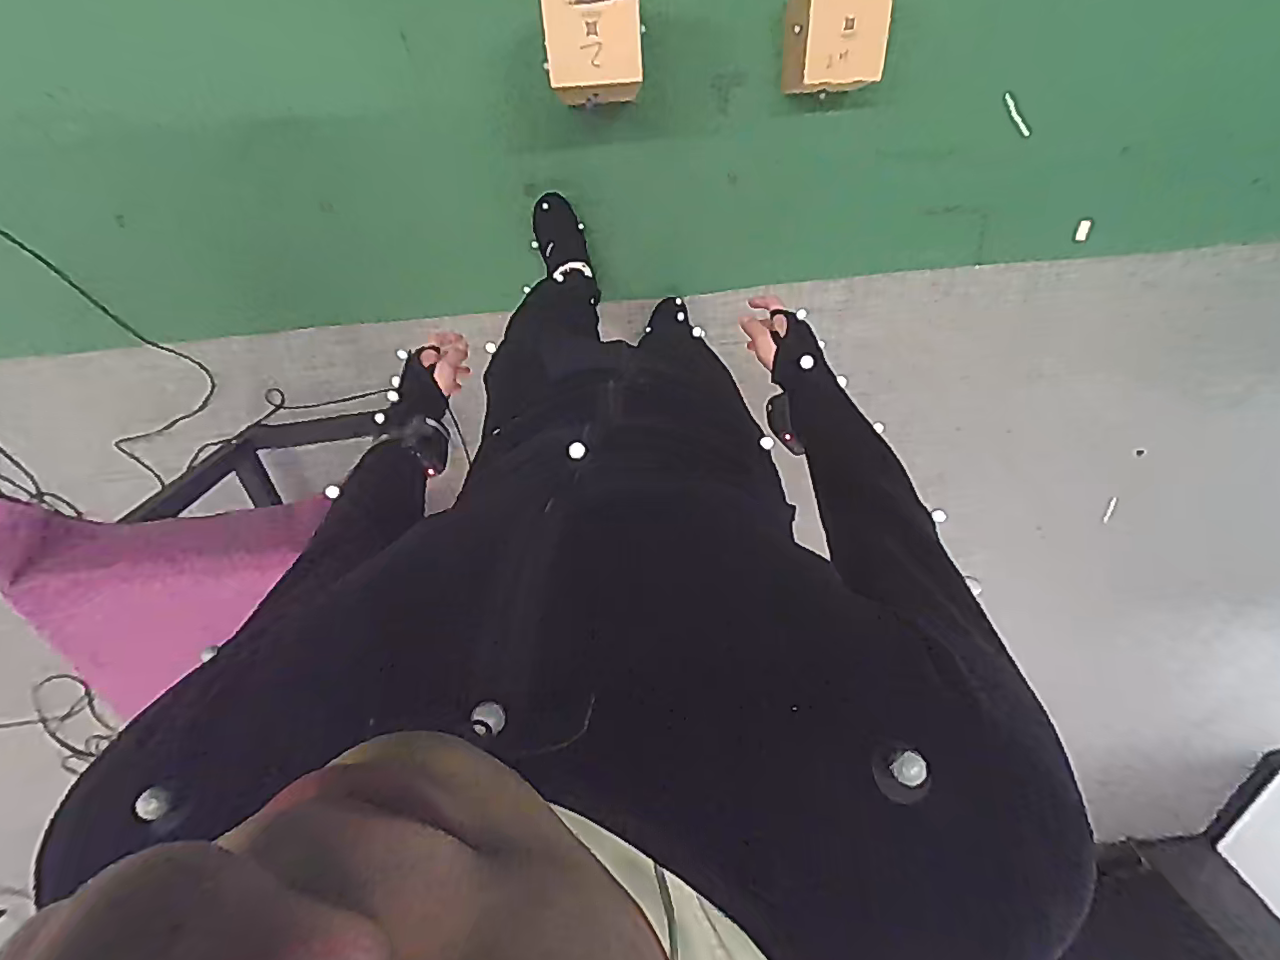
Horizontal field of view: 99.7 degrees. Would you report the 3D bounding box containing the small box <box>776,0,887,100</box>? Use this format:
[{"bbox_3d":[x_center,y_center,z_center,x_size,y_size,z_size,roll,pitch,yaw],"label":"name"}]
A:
[{"bbox_3d":[0.397,-0.928,1.150,0.168,0.176,0.179,-5,120,-3],"label":"small box"}]

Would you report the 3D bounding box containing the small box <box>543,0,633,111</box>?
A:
[{"bbox_3d":[-0.103,-0.886,1.132,0.168,0.176,0.179,-6,119,-1],"label":"small box"}]
